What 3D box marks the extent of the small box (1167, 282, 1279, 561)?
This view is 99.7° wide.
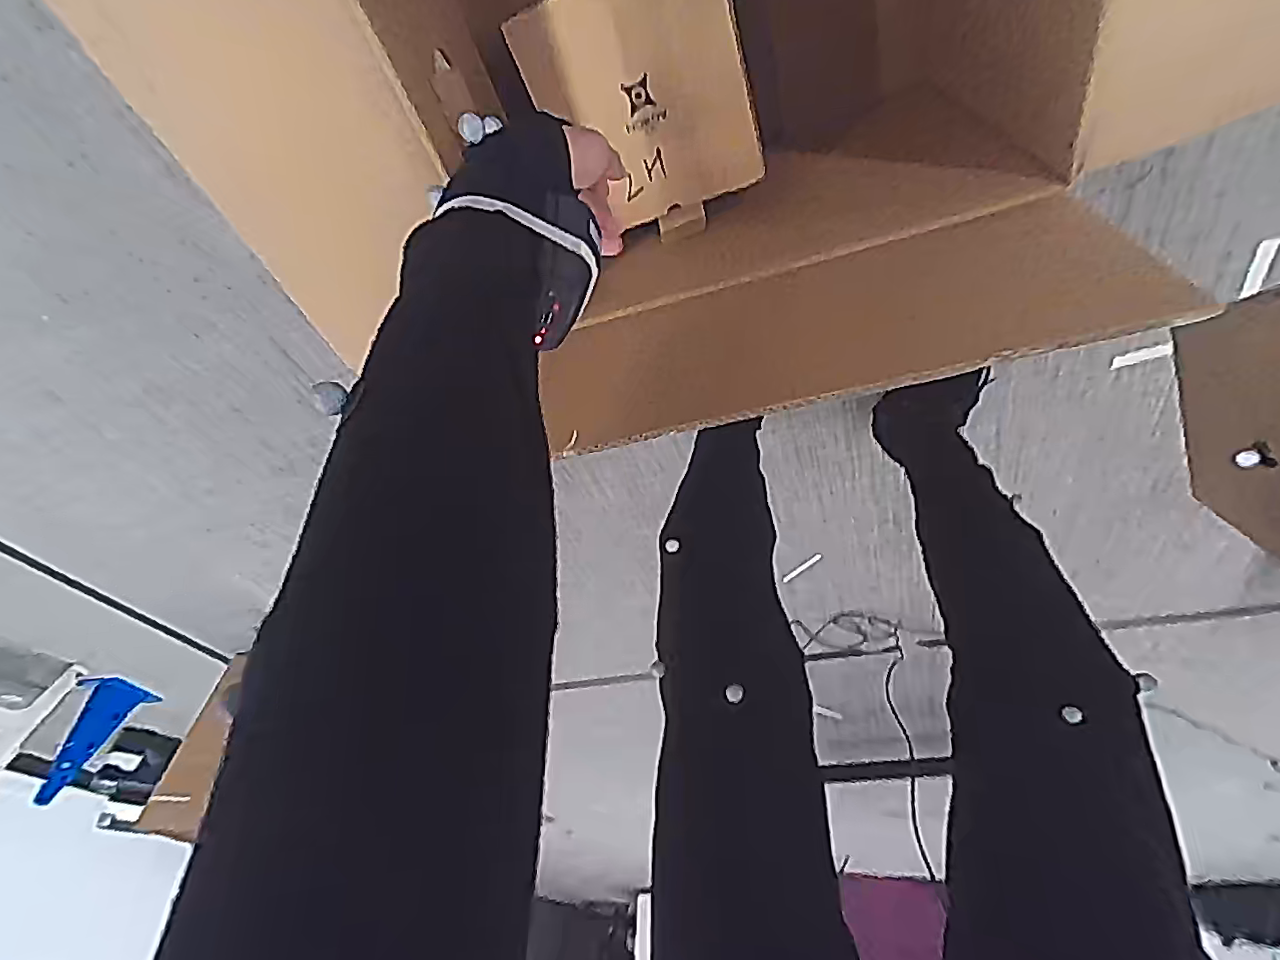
[{"bbox_3d":[0.511,-0.043,0.362,0.168,0.176,0.179,-20,110,22],"label":"small box"}]
